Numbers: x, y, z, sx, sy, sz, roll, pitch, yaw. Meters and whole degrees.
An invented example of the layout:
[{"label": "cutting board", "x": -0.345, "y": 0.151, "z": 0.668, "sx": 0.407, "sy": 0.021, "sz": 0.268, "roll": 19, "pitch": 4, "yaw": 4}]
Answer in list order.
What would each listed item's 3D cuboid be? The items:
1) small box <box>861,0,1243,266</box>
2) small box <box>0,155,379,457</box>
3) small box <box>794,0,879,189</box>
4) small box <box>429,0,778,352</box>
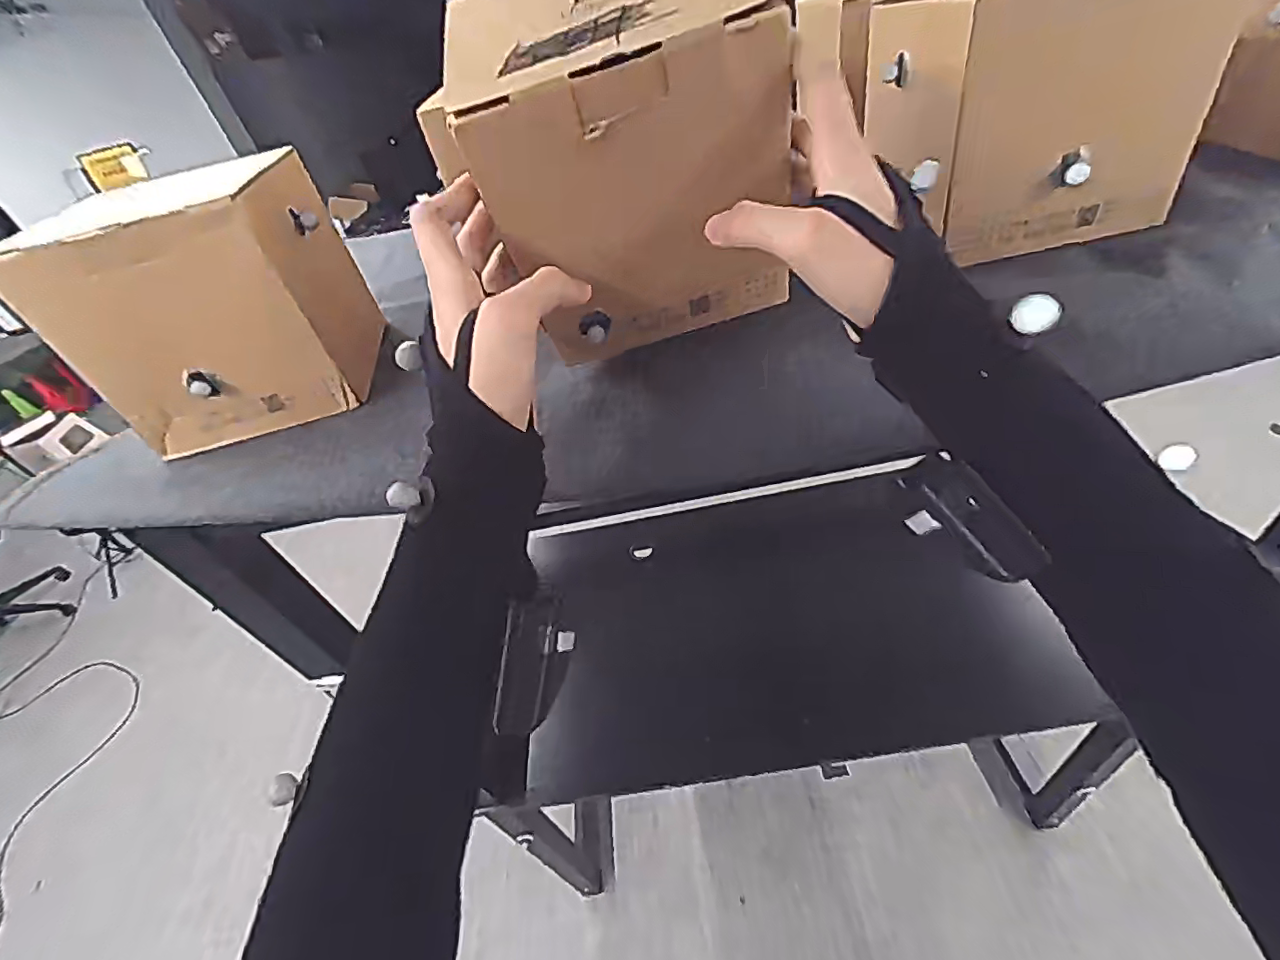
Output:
[{"label": "small box", "x": 0.285, "y": -0.289, "z": 0.425, "sx": 0.168, "sy": 0.176, "sz": 0.179, "roll": -11, "pitch": 40, "yaw": 6}, {"label": "small box", "x": -0.344, "y": -0.148, "z": 0.456, "sx": 0.168, "sy": 0.176, "sz": 0.179, "roll": -17, "pitch": 42, "yaw": -4}, {"label": "small box", "x": 0.280, "y": -0.454, "z": 0.613, "sx": 0.179, "sy": 0.176, "sz": 0.168, "roll": -10, "pitch": 41, "yaw": 5}, {"label": "small box", "x": -0.015, "y": -0.205, "z": 0.349, "sx": 0.168, "sy": 0.176, "sz": 0.179, "roll": -15, "pitch": 56, "yaw": 4}]
